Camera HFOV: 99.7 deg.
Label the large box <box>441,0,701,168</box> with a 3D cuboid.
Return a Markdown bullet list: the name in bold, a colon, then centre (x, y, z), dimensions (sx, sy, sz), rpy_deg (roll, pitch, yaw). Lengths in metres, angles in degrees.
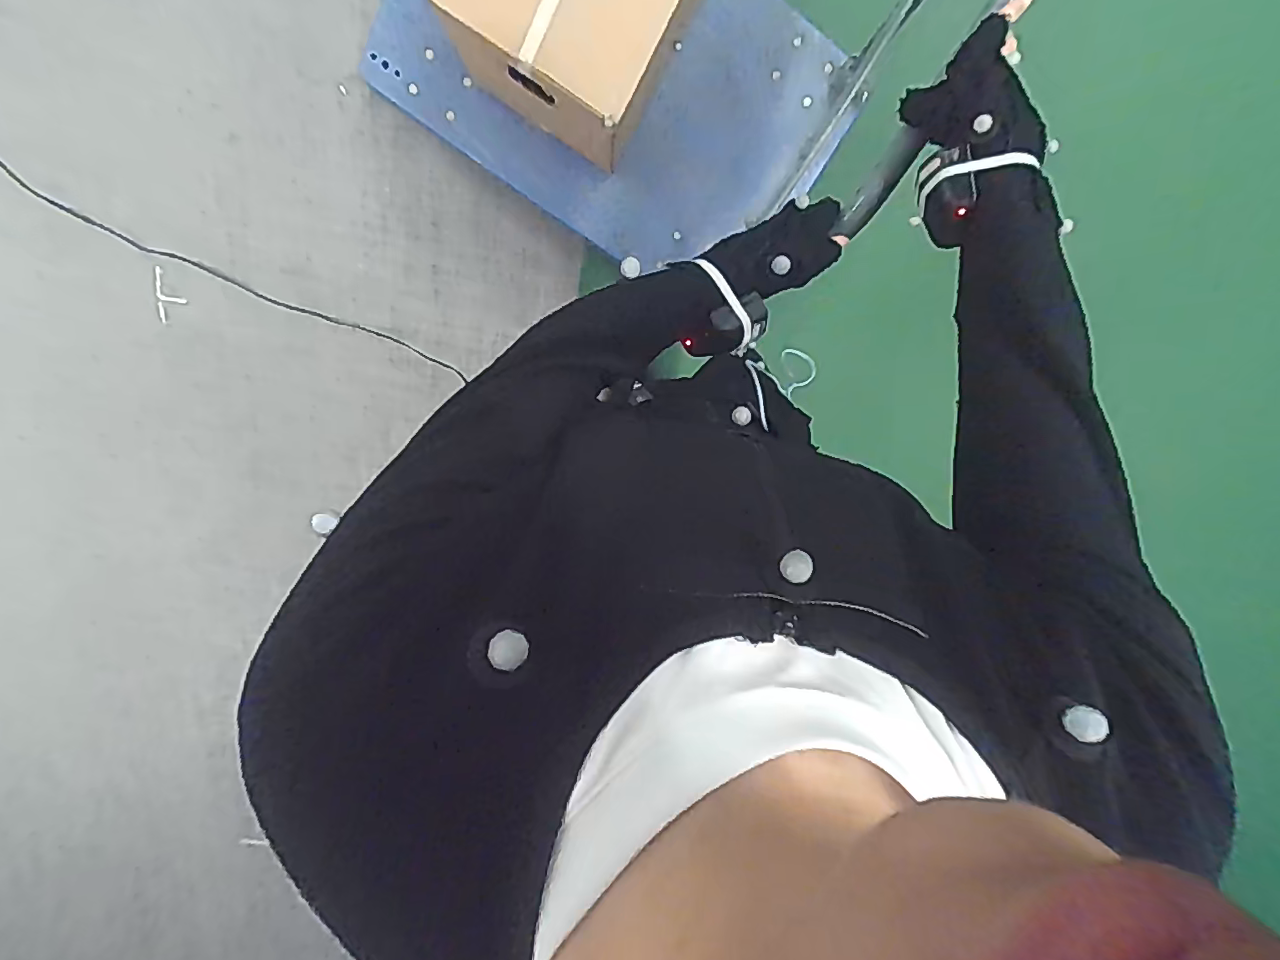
- **large box**: centre (-0.070, -0.828, 0.900), dimensions (0.320, 0.320, 0.408), rpy_deg (28, 104, -11)
